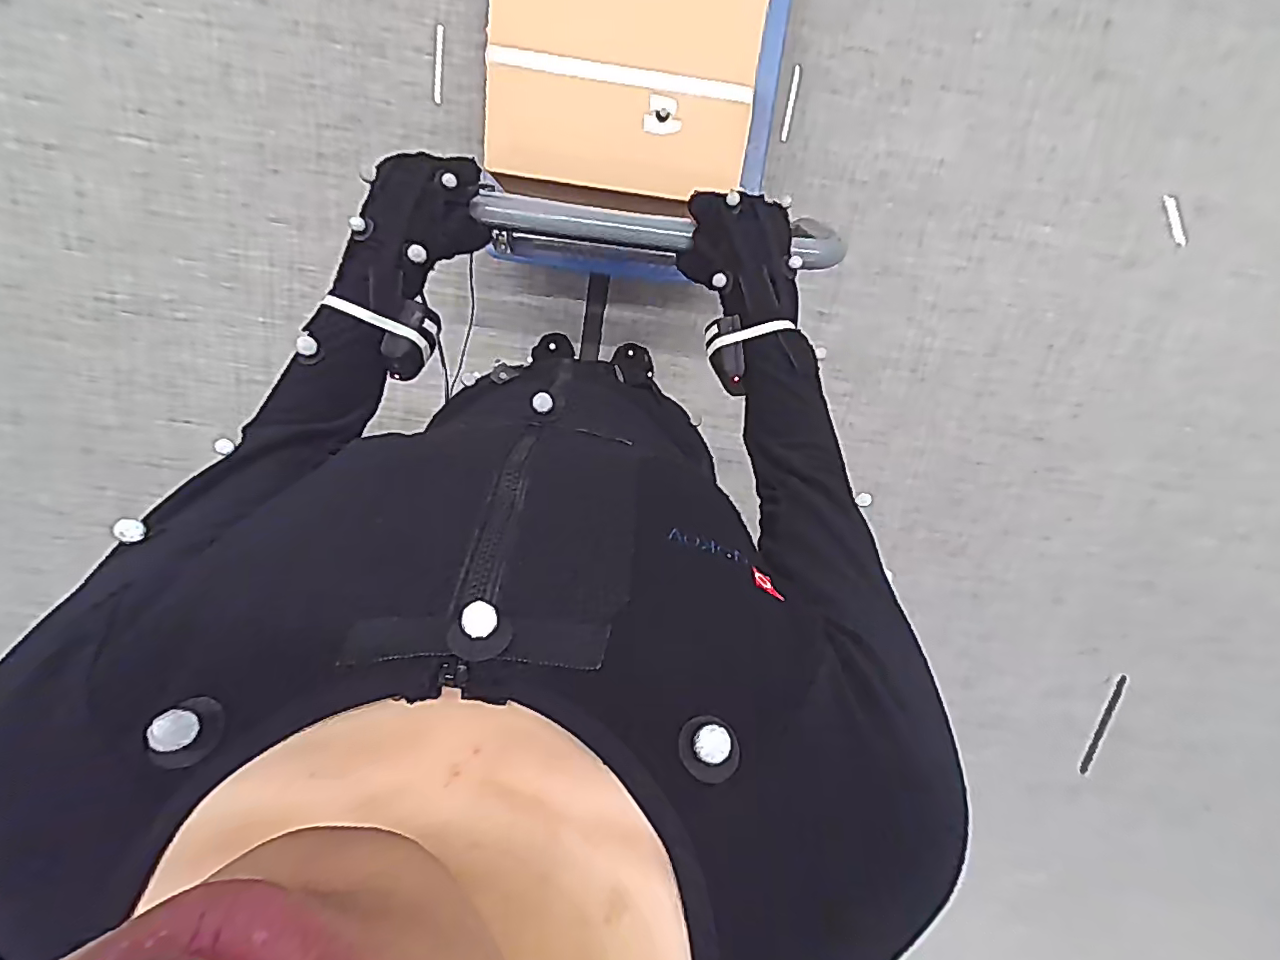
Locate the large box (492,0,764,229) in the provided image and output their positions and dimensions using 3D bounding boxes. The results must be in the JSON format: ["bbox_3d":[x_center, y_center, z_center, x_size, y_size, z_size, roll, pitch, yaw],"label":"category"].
[{"bbox_3d":[-0.034,-0.664,0.972,0.408,0.320,0.320,6,107,-5],"label":"large box"}]
